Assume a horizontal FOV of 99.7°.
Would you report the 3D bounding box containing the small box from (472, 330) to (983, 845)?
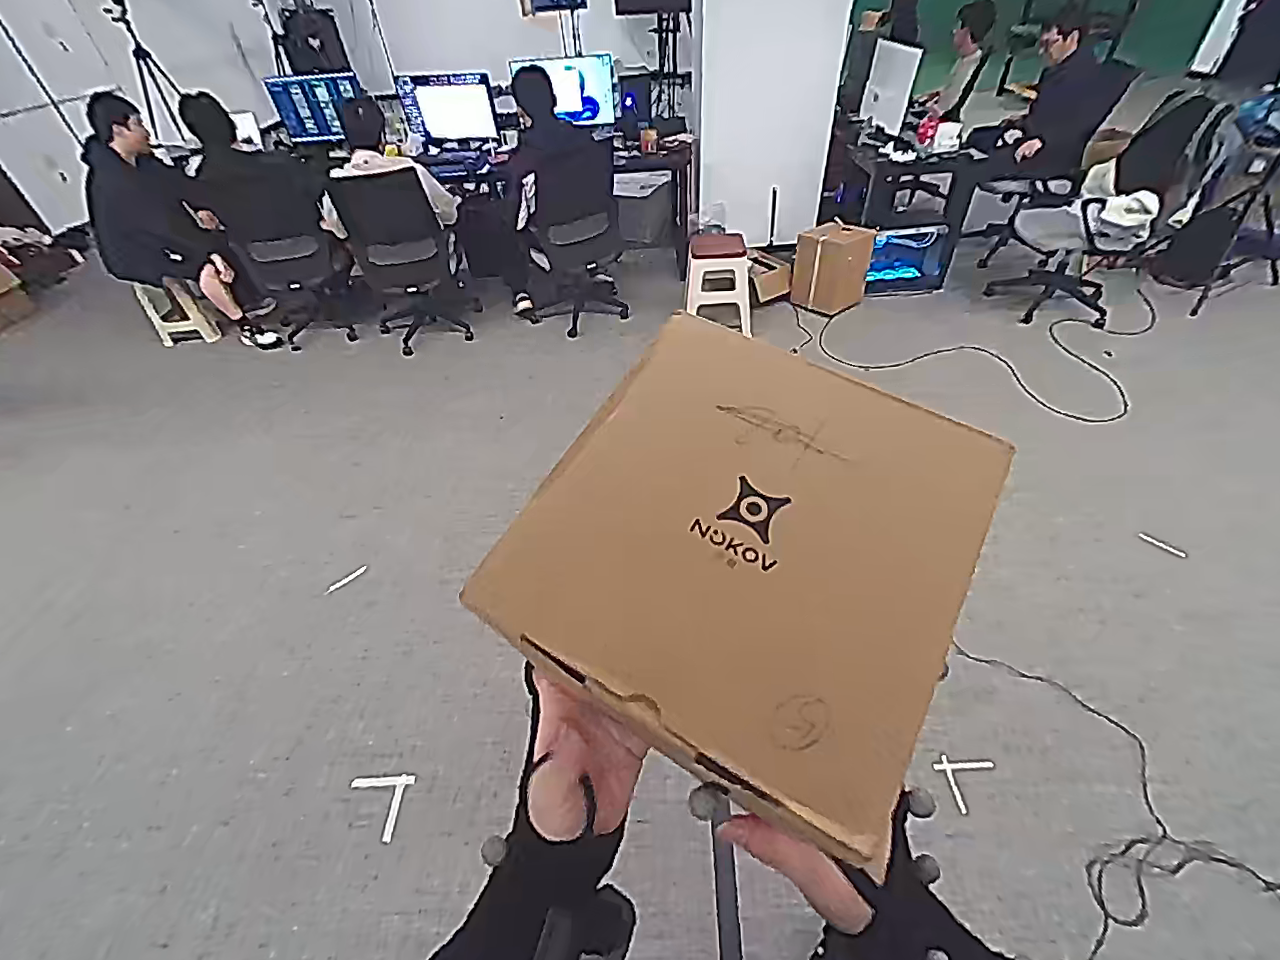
[{"bbox_3d":[0.046,0.058,0.300,0.168,0.176,0.179,26,65,15],"label":"small box"}]
